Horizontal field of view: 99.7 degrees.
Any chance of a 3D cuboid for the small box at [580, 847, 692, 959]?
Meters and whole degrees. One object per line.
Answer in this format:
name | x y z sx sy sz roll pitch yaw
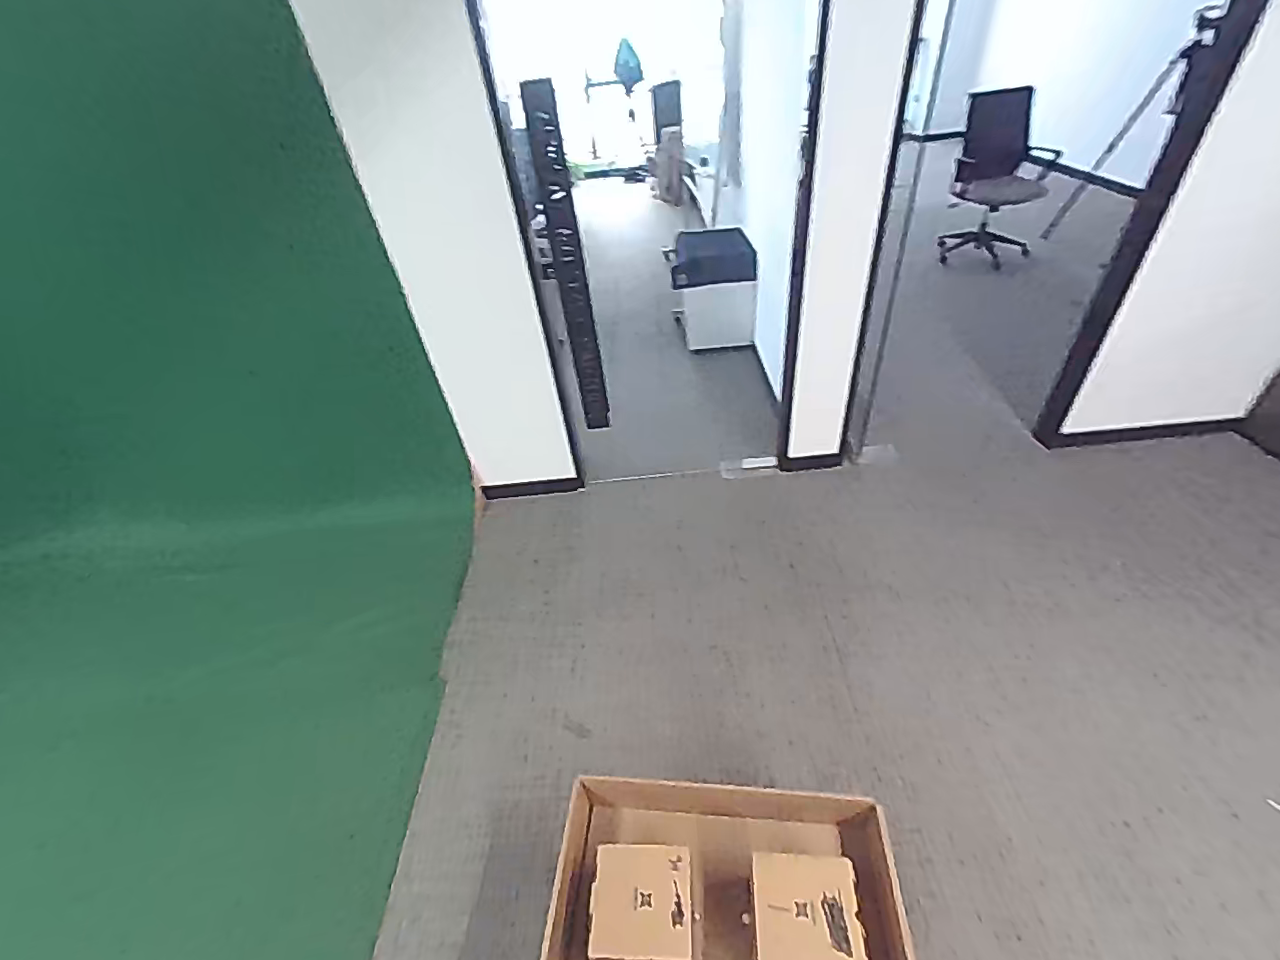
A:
small box | 0.001 0.794 0.984 0.179 0.176 0.168 -2 40 7
